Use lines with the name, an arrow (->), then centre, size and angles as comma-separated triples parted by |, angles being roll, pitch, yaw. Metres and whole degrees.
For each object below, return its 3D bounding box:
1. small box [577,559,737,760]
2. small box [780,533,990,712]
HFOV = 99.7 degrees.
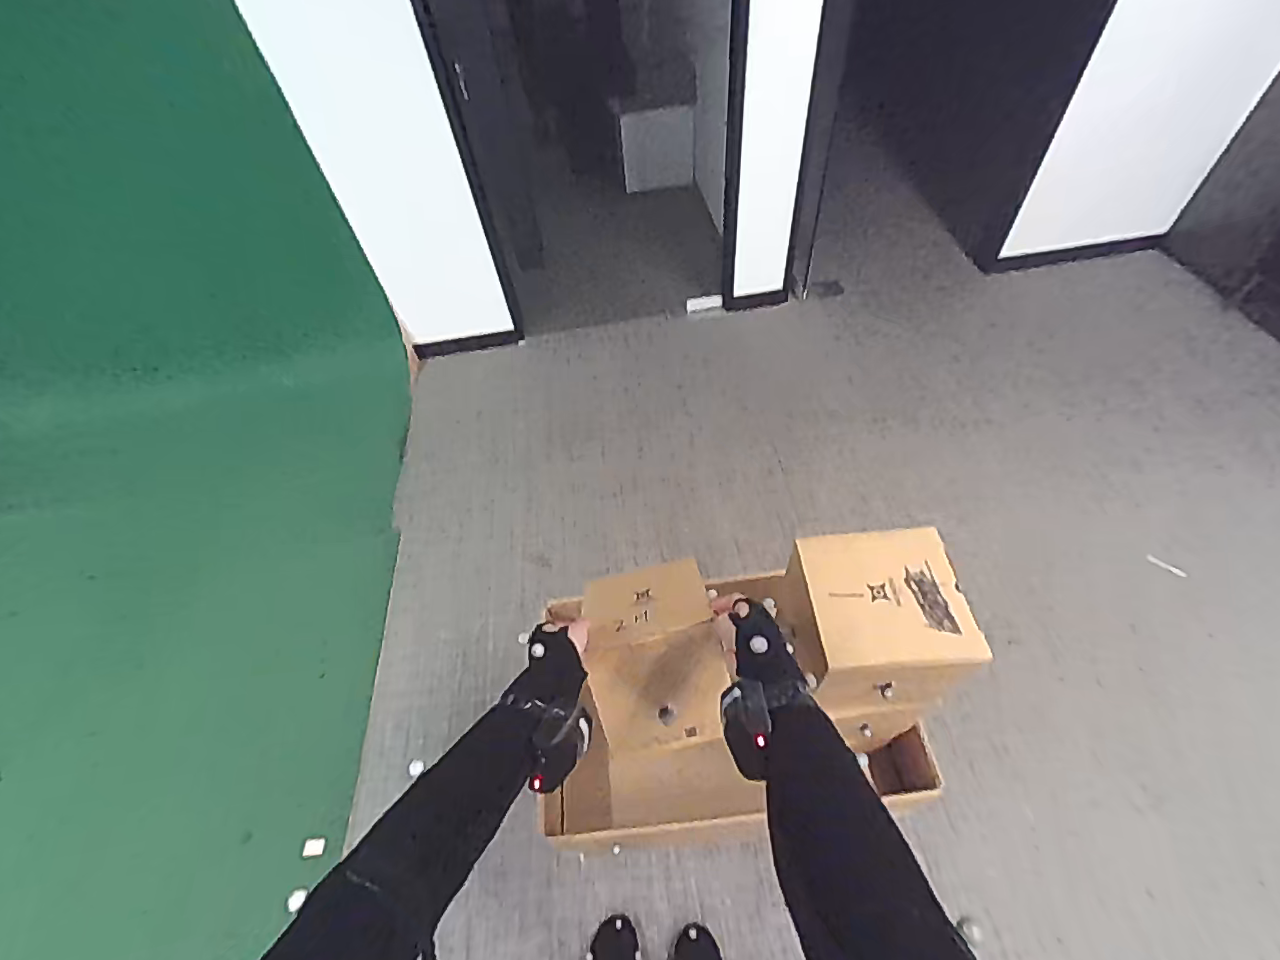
small box -> 0.021, 0.232, 0.723 | 0.168, 0.176, 0.179 | -14, 18, 2
small box -> 0.286, 0.183, 0.680 | 0.179, 0.176, 0.168 | -5, 52, 3
